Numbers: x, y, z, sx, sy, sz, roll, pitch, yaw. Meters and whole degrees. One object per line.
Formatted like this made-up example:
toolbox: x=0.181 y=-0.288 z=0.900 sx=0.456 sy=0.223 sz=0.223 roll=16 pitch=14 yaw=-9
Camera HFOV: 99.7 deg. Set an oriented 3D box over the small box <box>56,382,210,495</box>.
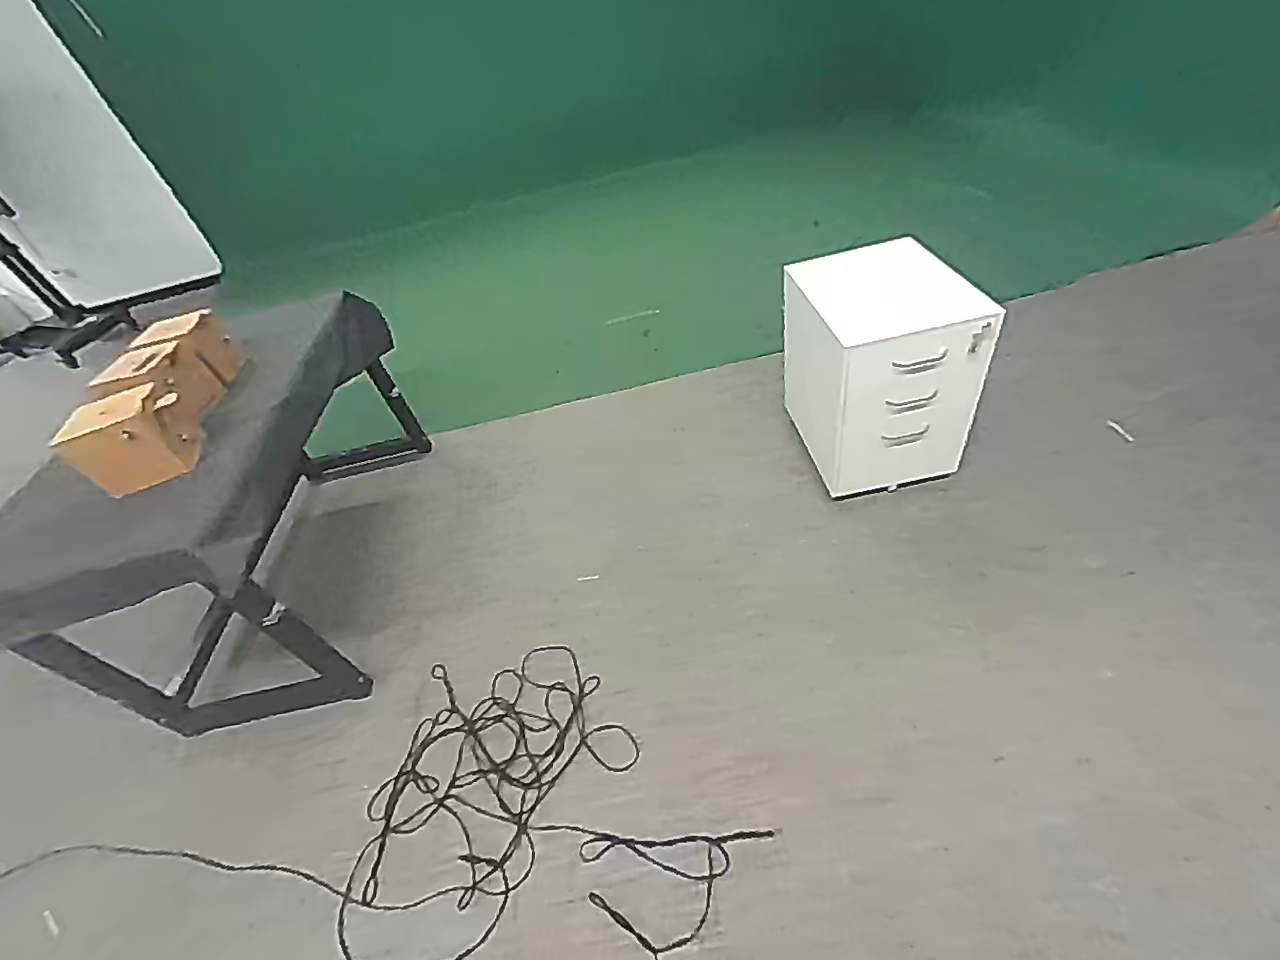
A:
small box: x=-1.160 y=-0.092 z=1.255 sx=0.179 sy=0.176 sz=0.168 roll=-23 pitch=43 yaw=-9
